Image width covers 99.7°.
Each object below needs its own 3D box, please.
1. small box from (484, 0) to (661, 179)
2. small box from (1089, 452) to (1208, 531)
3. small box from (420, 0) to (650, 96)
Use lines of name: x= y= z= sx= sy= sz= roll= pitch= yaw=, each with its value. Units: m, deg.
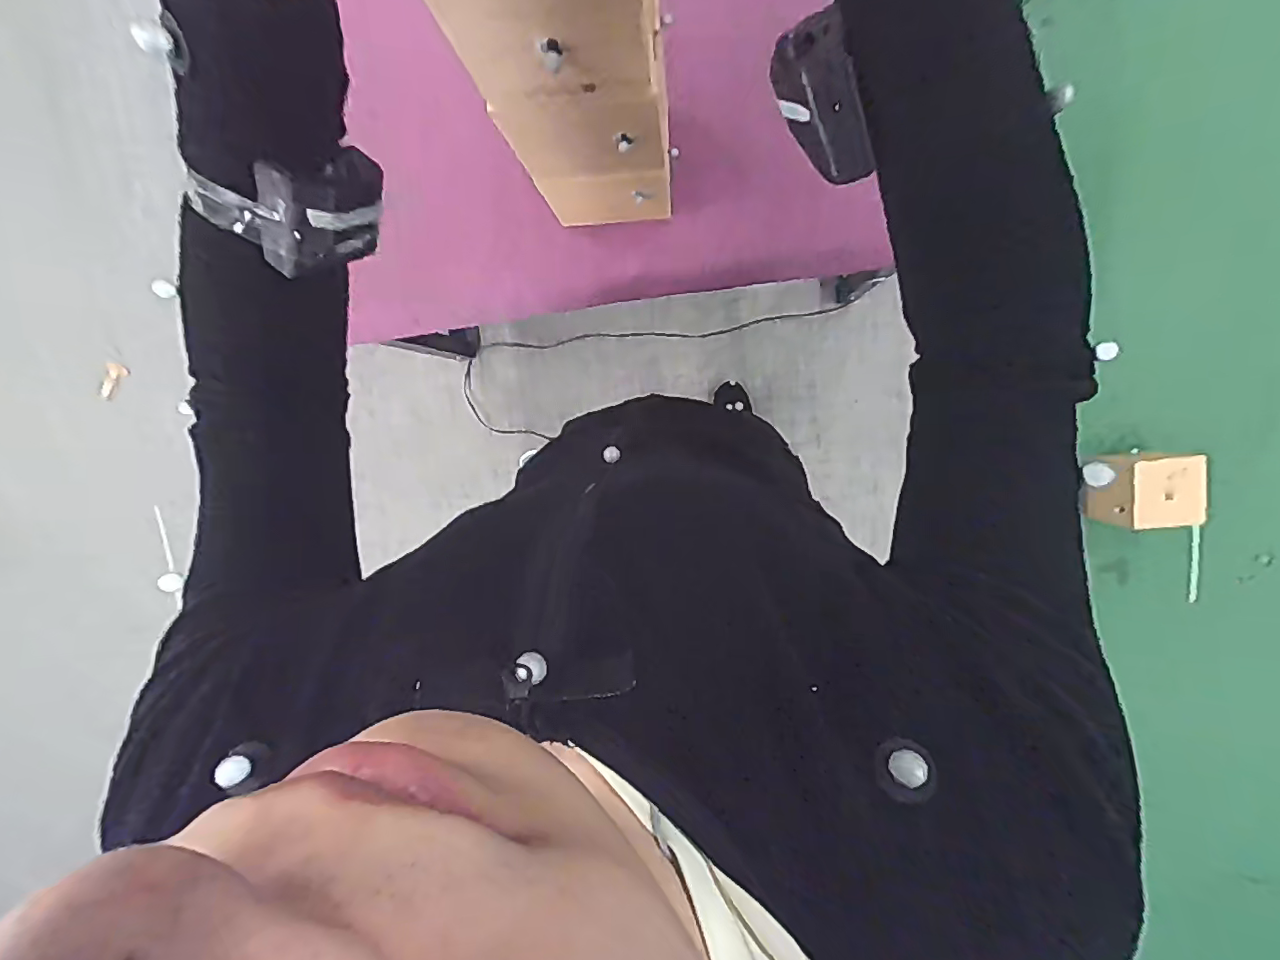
small box: x=-0.066 y=-0.464 z=0.610 sx=0.179 sy=0.176 sz=0.168 roll=-2 pitch=96 yaw=6
small box: x=1.326 y=0.025 z=1.422 sx=0.168 sy=0.176 sz=0.179 roll=-5 pitch=96 yaw=6
small box: x=-0.081 y=-0.453 z=0.448 sx=0.168 sy=0.176 sz=0.179 roll=-2 pitch=96 yaw=5
